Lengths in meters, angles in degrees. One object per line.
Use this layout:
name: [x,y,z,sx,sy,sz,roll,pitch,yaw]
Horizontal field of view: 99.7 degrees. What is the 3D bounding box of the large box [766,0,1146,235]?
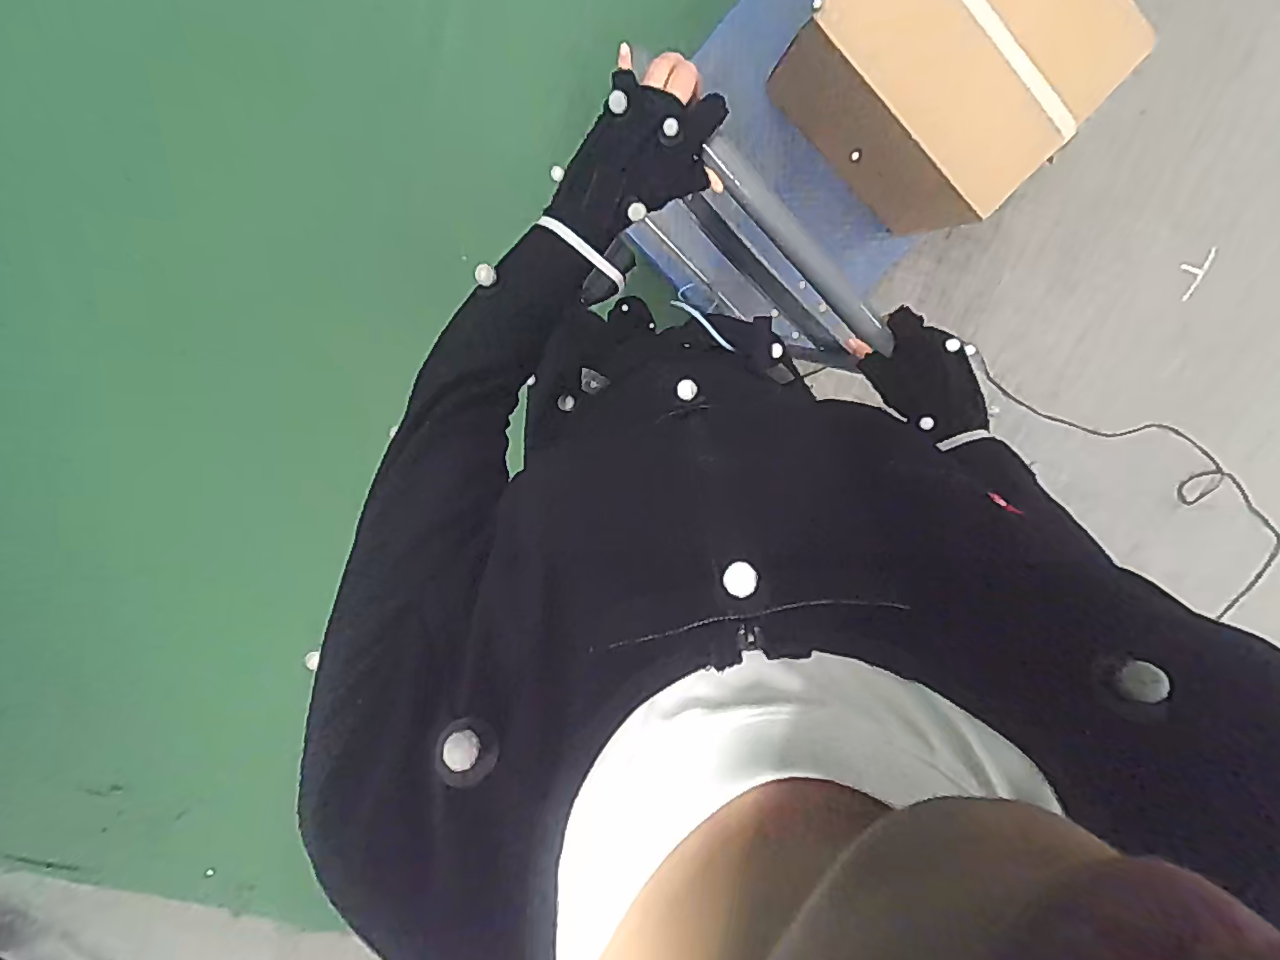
large box: [0.485,-0.686,0.914,0.408,0.320,0.320,40,105,-12]
